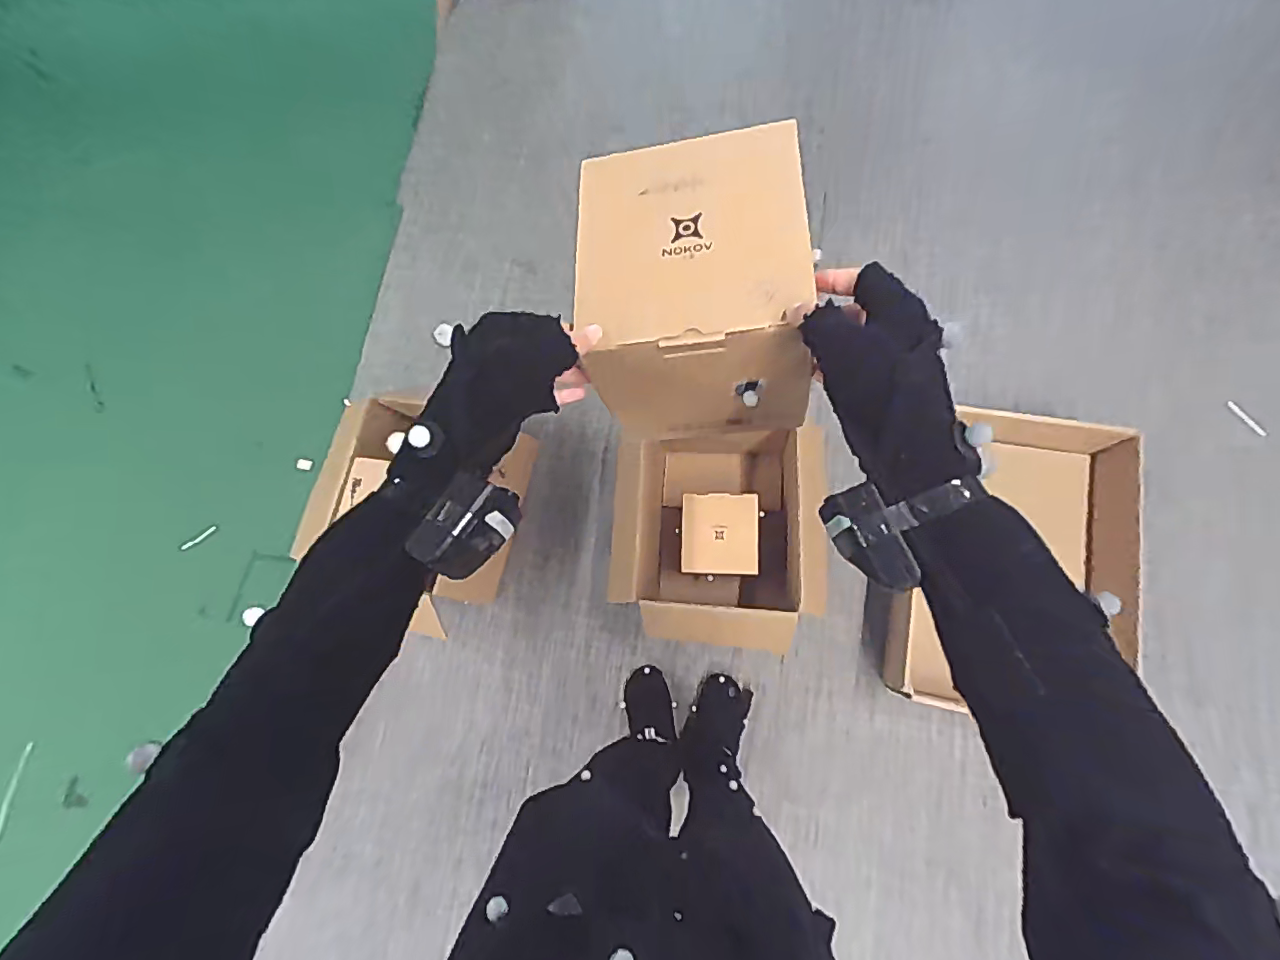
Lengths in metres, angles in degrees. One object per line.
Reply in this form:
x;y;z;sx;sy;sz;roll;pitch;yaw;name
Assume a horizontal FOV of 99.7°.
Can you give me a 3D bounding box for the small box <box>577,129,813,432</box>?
0.052;-0.149;0.465;0.168;0.176;0.179;-4;71;11;small box
